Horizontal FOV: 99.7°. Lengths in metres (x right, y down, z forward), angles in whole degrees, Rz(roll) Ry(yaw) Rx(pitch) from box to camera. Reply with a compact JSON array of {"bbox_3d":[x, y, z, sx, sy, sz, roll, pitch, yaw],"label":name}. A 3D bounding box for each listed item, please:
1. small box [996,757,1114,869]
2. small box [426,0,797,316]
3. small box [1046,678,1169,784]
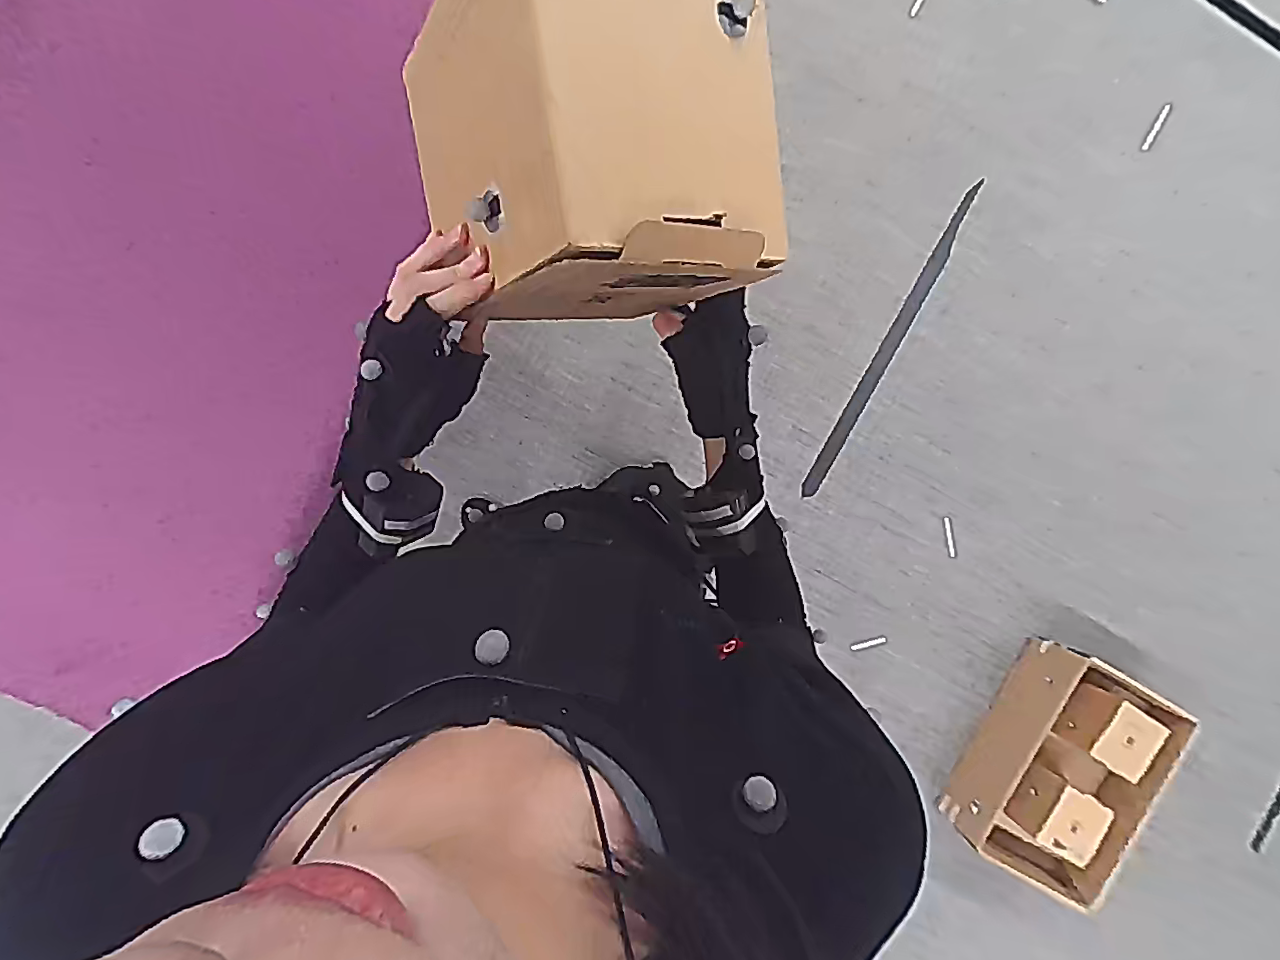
[{"bbox_3d":[1.154,0.923,1.518,0.168,0.176,0.179,32,87,-4],"label":"small box"},{"bbox_3d":[-0.024,-0.211,0.353,0.168,0.179,0.176,-13,100,-37],"label":"small box"},{"bbox_3d":[1.300,0.696,1.520,0.168,0.176,0.179,33,89,-5],"label":"small box"}]
